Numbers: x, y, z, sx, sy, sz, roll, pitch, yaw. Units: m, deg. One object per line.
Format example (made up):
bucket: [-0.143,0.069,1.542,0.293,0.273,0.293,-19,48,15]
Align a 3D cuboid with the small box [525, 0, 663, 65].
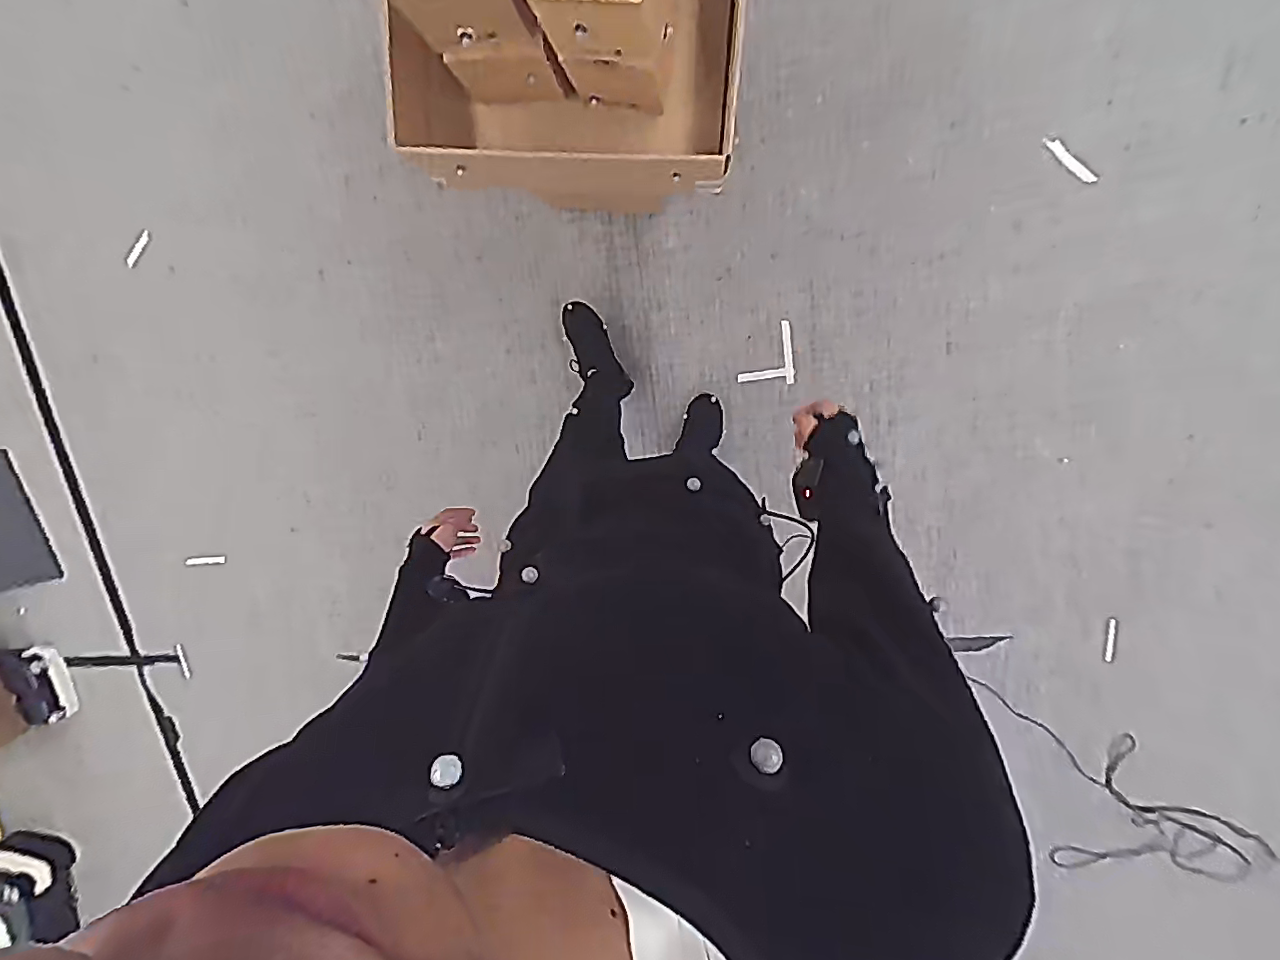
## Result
small box: [-0.055,-0.737,0.777,0.168,0.176,0.179,9,104,7]
